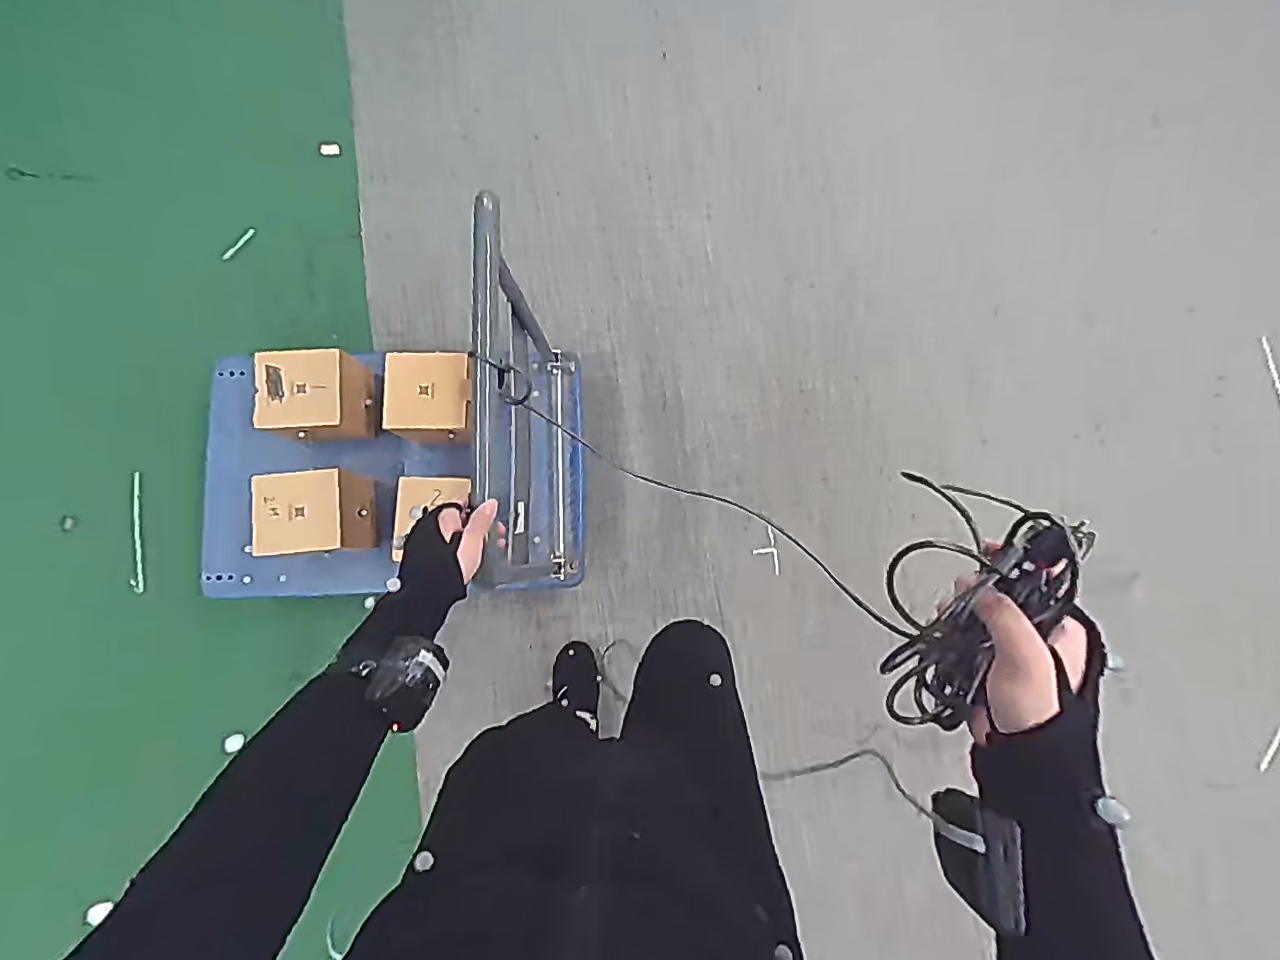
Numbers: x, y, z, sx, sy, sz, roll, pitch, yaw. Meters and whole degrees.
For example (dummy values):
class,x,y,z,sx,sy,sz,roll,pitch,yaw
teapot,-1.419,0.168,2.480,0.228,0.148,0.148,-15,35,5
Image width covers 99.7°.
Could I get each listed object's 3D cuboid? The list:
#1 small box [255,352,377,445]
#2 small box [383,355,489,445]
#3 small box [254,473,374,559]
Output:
class,x,y,z,sx,sy,sz,roll,pitch,yaw
small box,-0.712,-0.174,1.204,0.179,0.176,0.168,-3,83,-3
small box,-0.450,-0.173,1.214,0.179,0.176,0.168,0,83,-3
small box,-0.694,0.080,1.172,0.179,0.176,0.168,-5,82,-3
